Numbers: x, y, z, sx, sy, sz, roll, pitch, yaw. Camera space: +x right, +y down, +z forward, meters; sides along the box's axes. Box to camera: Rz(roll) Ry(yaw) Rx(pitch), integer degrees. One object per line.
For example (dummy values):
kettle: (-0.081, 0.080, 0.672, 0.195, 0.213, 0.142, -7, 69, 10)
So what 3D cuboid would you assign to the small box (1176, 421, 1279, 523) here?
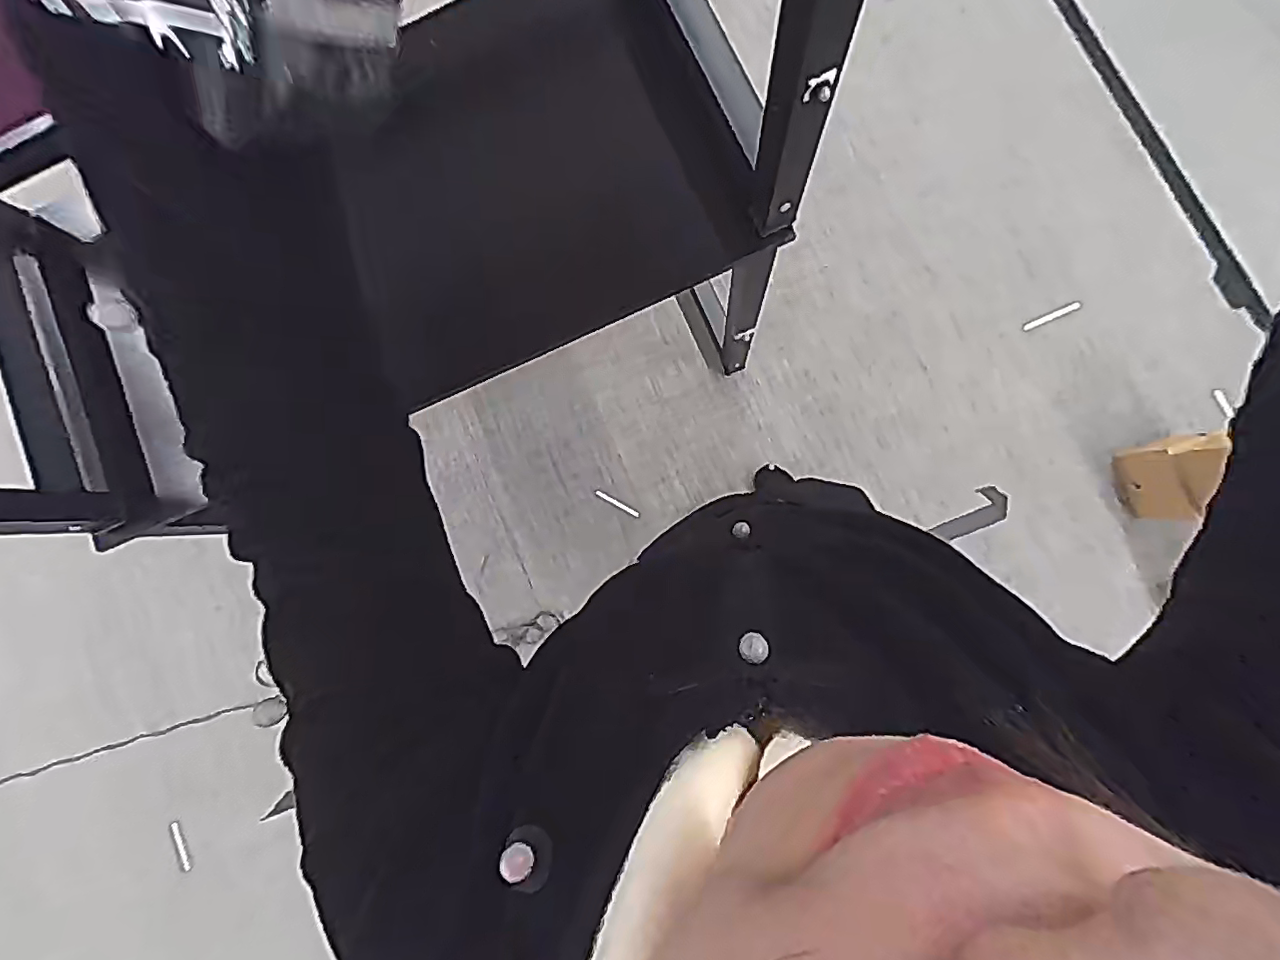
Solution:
small box: (1.314, -0.020, 1.138, 0.168, 0.176, 0.179, -23, 83, 3)

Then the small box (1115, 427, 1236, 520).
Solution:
small box: (1.315, -0.012, 1.303, 0.168, 0.176, 0.179, -18, 85, 4)
